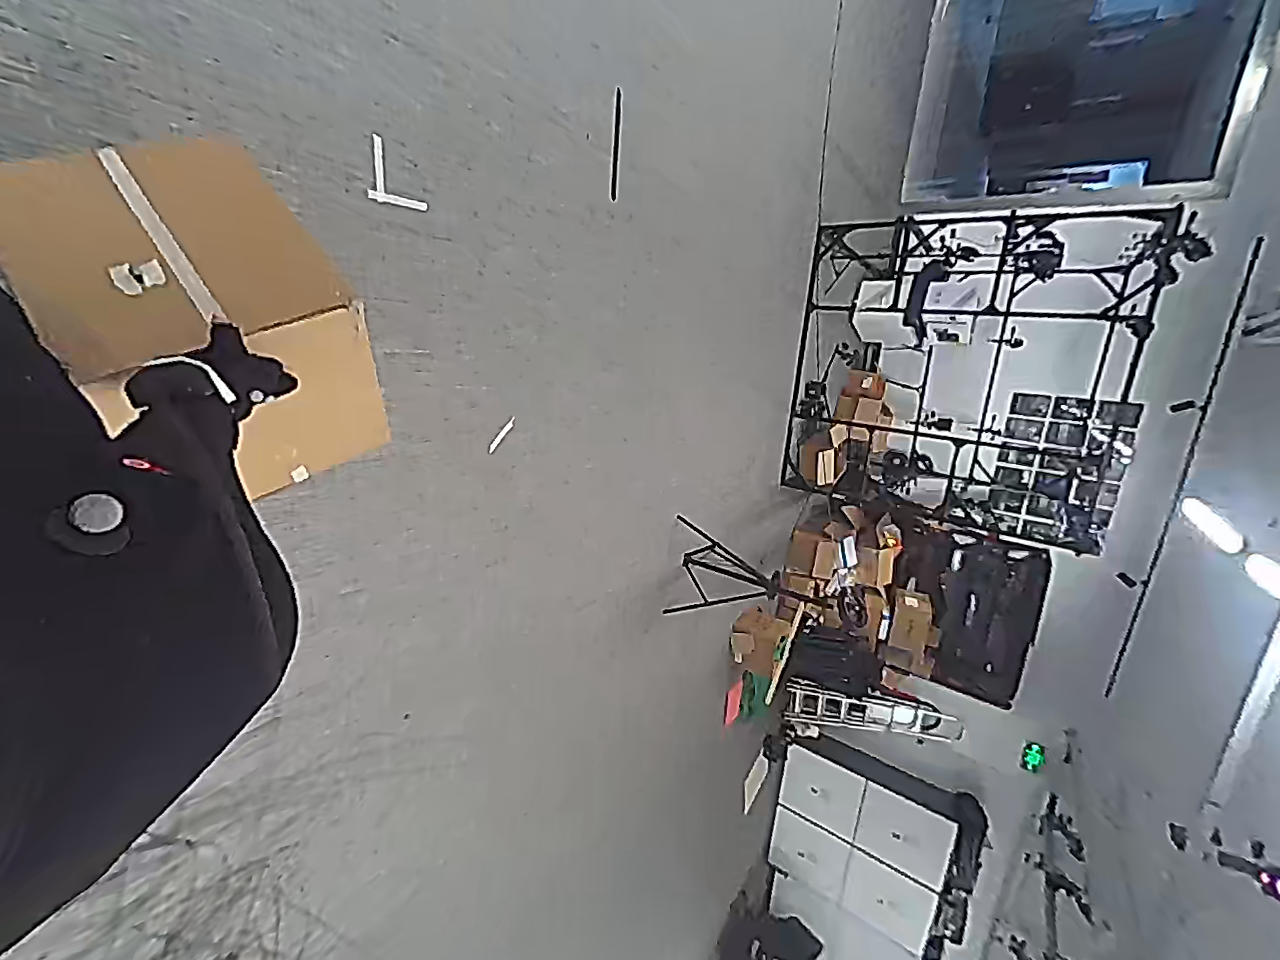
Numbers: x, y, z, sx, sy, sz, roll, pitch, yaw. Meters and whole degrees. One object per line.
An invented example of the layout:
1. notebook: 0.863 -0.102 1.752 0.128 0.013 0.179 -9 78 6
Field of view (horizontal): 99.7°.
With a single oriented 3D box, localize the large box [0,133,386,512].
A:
1. large box: -0.648 -0.234 0.811 0.320 0.408 0.320 -34 164 -29
